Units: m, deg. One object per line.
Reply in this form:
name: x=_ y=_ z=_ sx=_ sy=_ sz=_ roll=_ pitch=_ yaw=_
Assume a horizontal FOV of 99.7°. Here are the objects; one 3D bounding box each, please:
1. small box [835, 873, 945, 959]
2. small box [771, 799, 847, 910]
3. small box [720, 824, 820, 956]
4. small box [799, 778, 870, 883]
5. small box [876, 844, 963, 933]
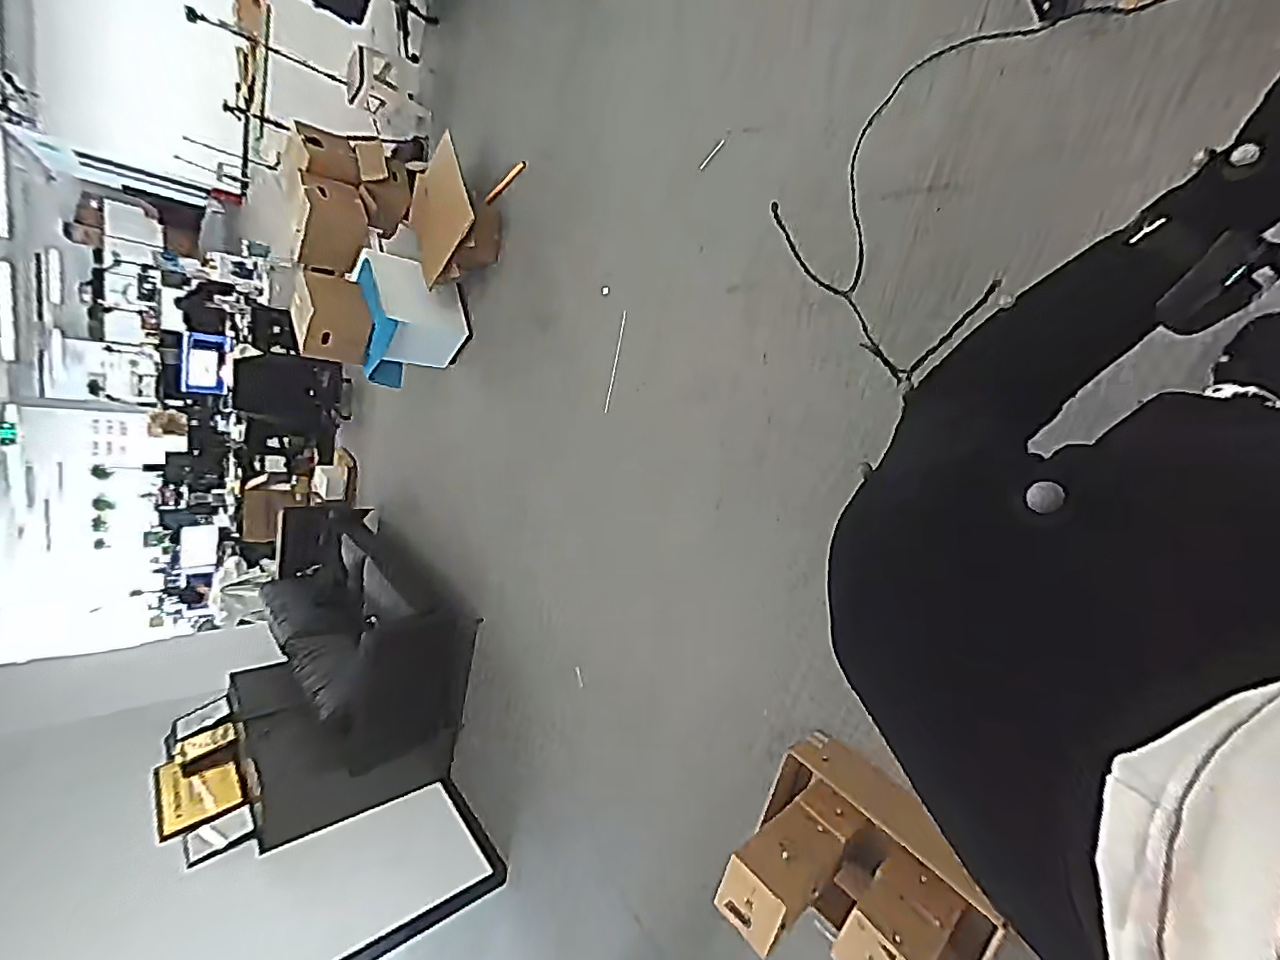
small box: x=0.621 y=1.138 z=1.337 sx=0.168 sy=0.176 sz=0.179 roll=32 pitch=113 yaw=41
small box: x=0.452 y=1.051 z=1.516 sx=0.168 sy=0.176 sz=0.179 roll=28 pitch=110 yaw=40
small box: x=0.339 y=1.048 z=1.397 sx=0.168 sy=0.176 sz=0.179 roll=27 pitch=109 yaw=40
small box: x=0.568 y=1.045 z=1.631 sx=0.168 sy=0.176 sz=0.179 roll=26 pitch=109 yaw=42
small box: x=0.738 y=1.134 z=1.453 sx=0.168 sy=0.176 sz=0.179 roll=26 pitch=108 yaw=44
